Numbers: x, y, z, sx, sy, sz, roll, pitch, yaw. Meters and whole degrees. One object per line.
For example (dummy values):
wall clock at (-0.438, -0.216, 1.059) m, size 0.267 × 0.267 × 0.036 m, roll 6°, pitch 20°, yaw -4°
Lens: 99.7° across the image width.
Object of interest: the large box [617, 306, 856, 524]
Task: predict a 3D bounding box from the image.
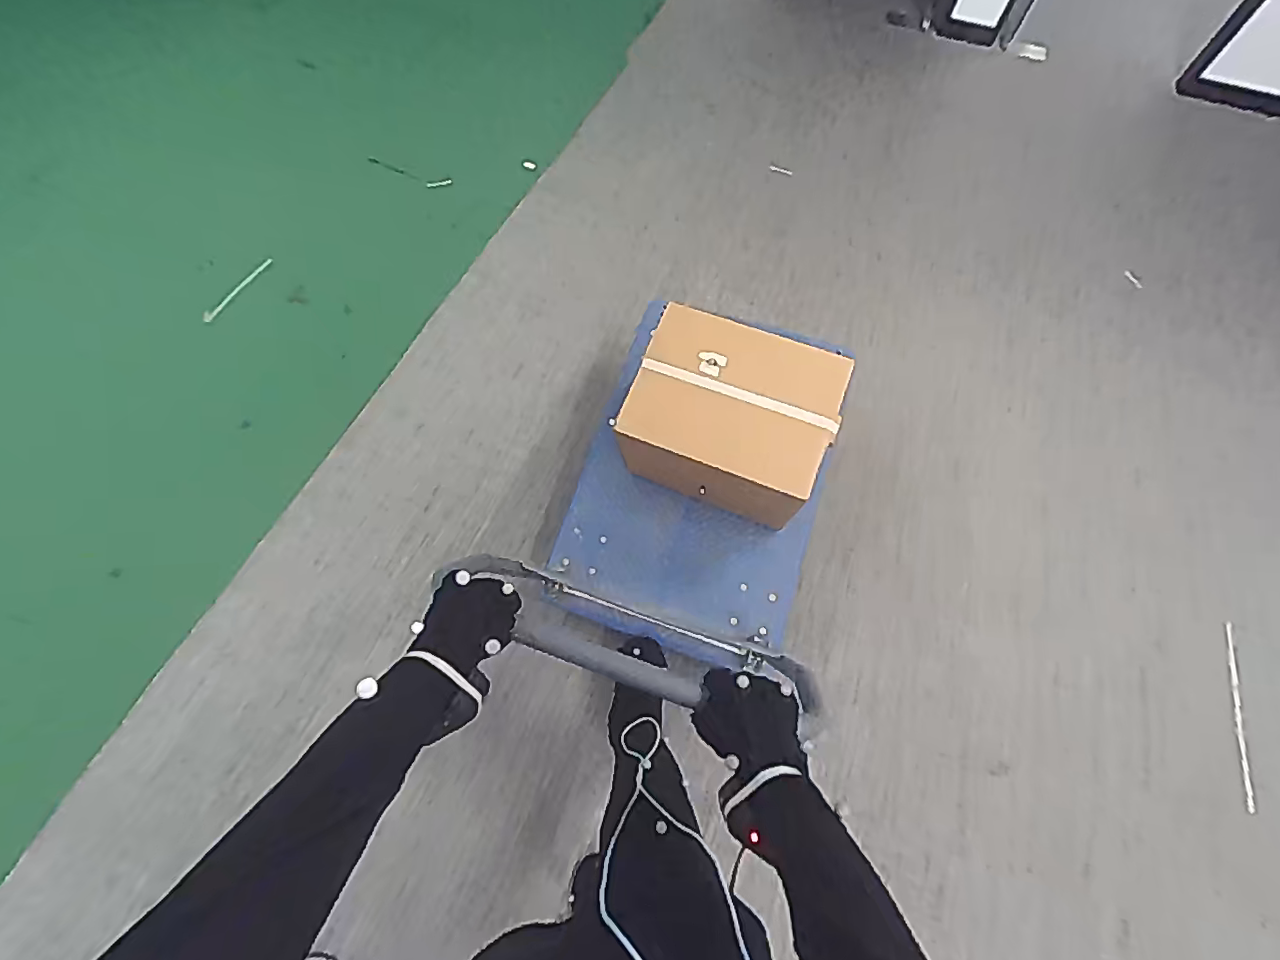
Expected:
large box at (0.209, -0.129, 1.214) m, size 0.408 × 0.320 × 0.320 m, roll 20°, pitch 78°, yaw 11°
